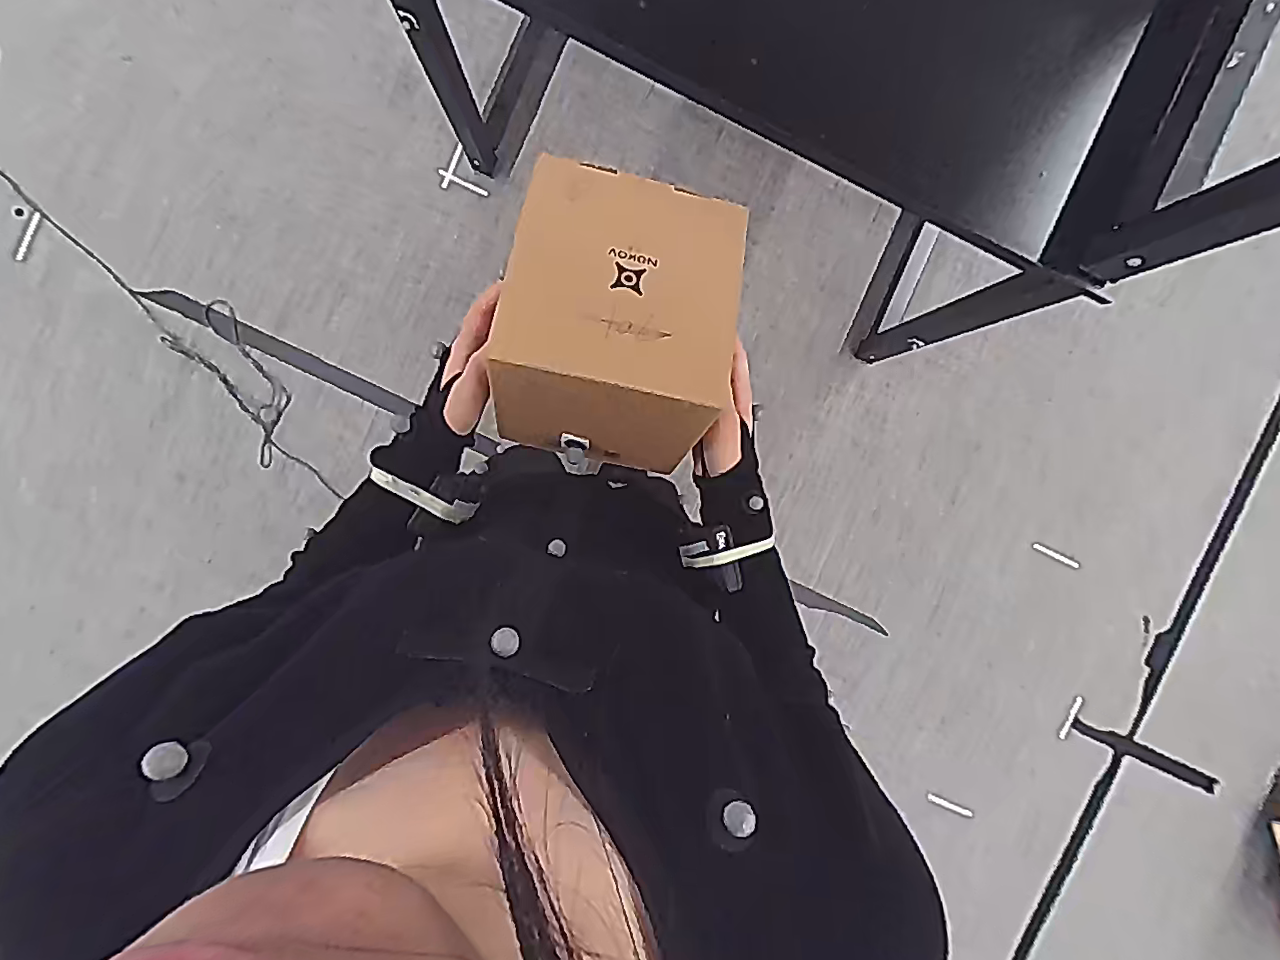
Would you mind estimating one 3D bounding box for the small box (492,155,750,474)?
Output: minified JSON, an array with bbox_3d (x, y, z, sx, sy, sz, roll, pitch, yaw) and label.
[{"bbox_3d":[-0.020,-0.121,0.457,0.168,0.176,0.179,11,73,-7],"label":"small box"}]
